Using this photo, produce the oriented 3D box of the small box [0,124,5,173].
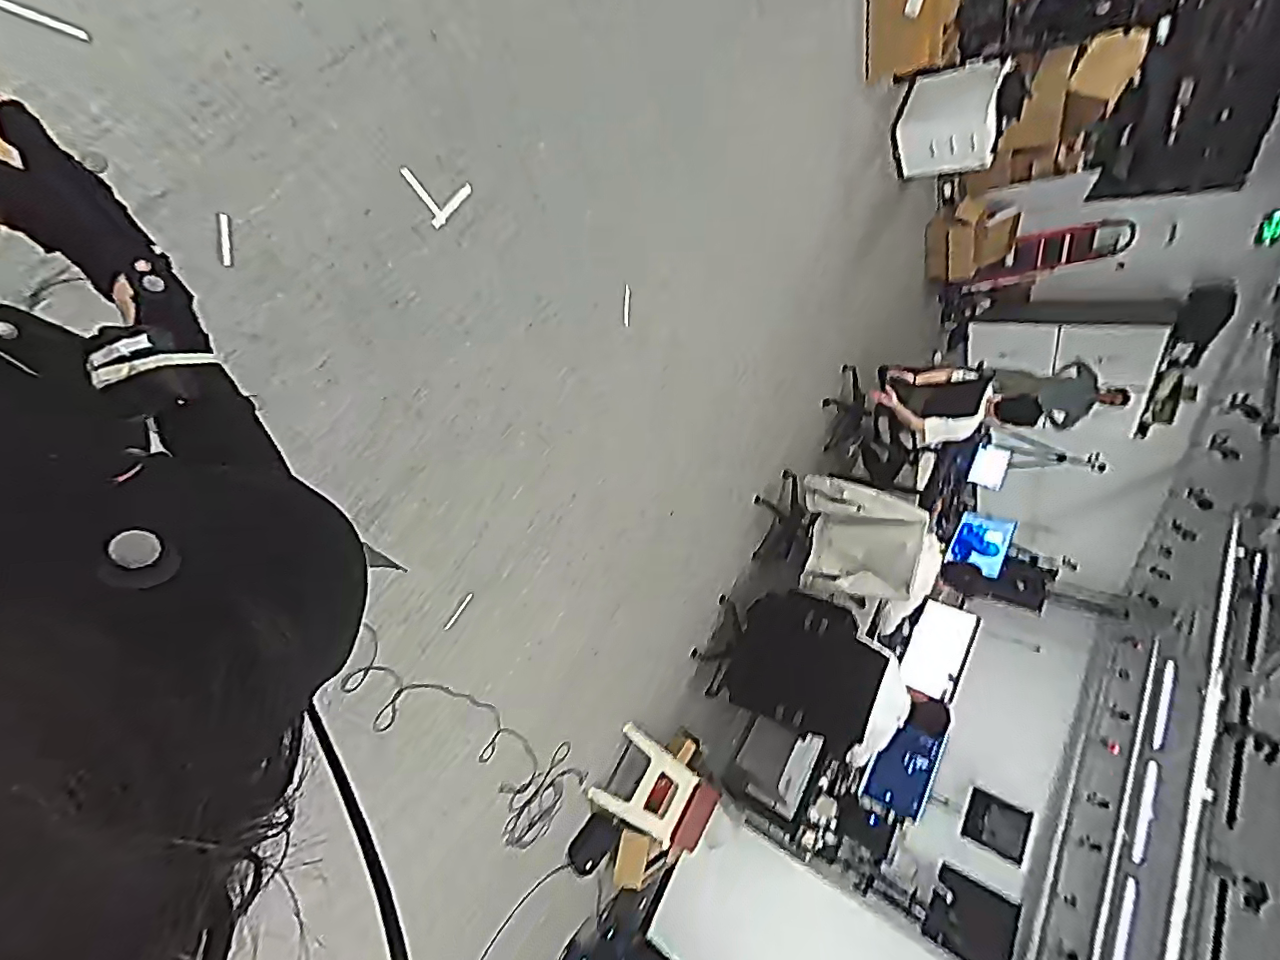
[{"bbox_3d":[-0.566,-0.297,0.349,0.168,0.176,0.179,-21,106,-50],"label":"small box"}]
